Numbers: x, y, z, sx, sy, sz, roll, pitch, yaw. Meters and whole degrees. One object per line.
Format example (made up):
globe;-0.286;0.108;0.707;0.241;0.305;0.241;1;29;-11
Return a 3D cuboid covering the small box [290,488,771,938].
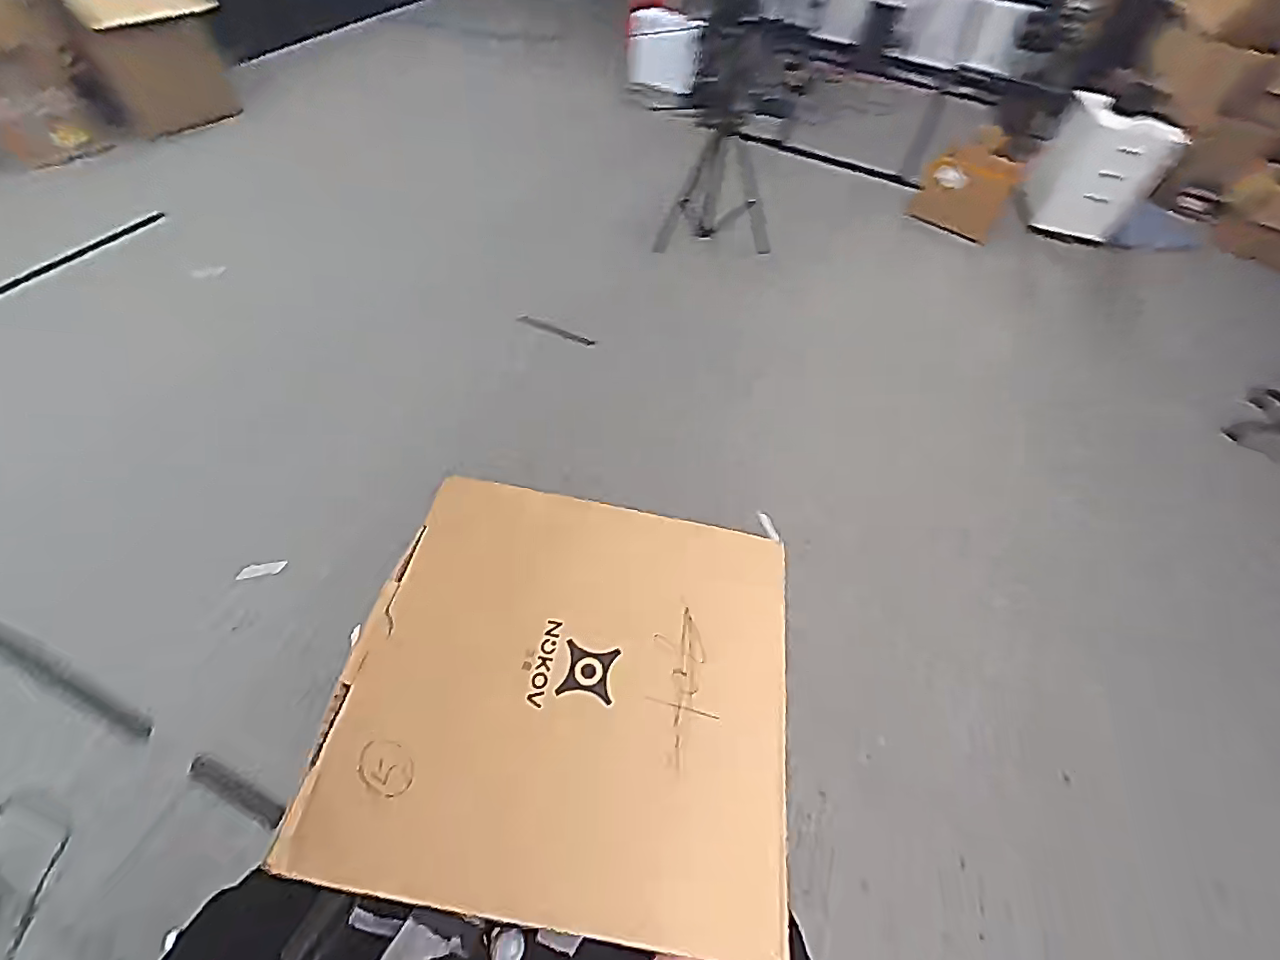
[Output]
small box;-0.038;0.130;0.300;0.179;0.176;0.168;11;53;-2
